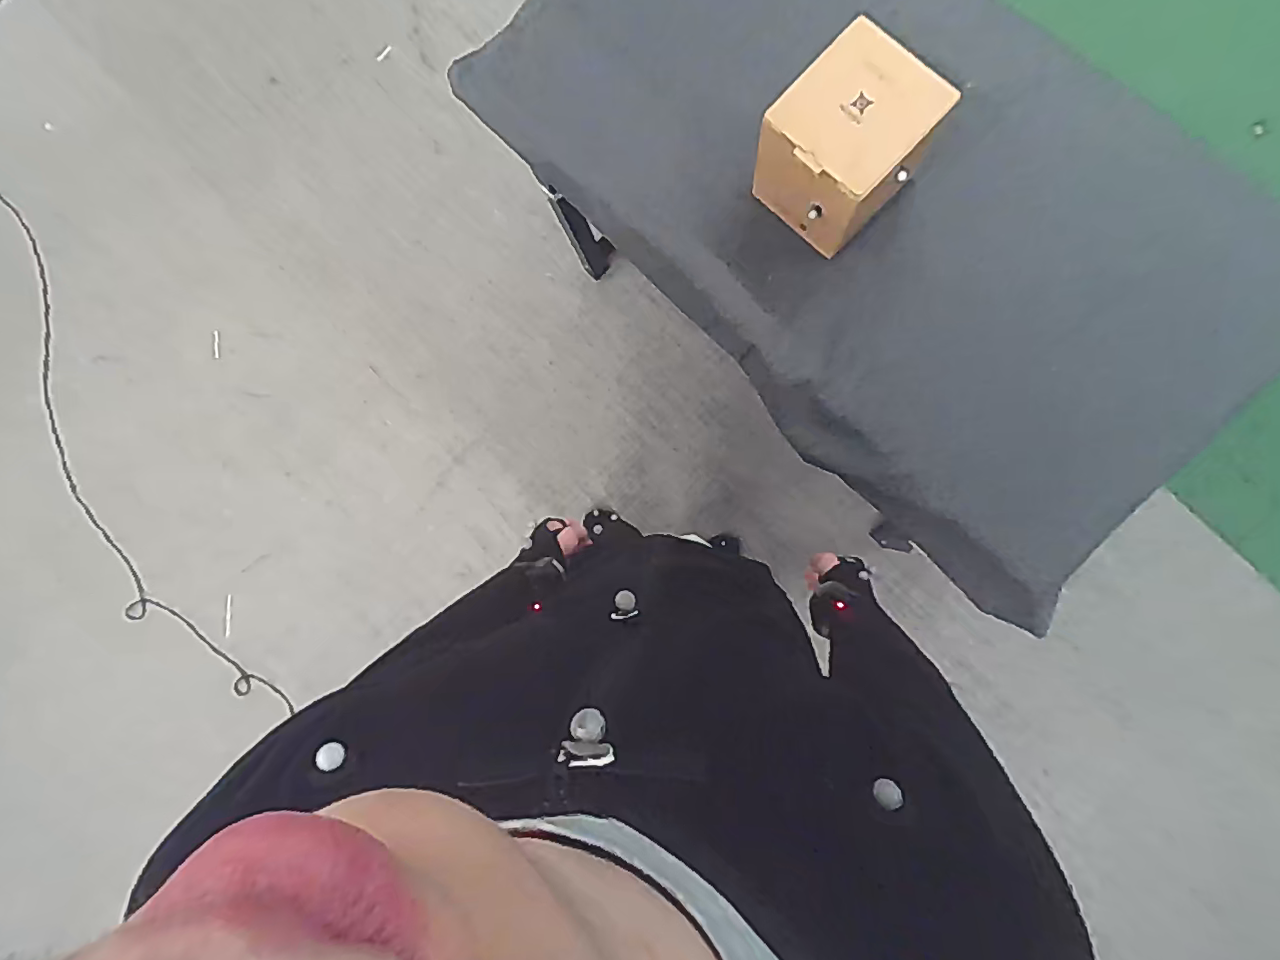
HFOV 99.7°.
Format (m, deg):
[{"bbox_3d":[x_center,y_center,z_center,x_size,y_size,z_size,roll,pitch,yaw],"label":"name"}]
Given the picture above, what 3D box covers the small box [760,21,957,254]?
[{"bbox_3d":[0.284,-0.456,0.753,0.168,0.176,0.179,45,92,6],"label":"small box"}]
